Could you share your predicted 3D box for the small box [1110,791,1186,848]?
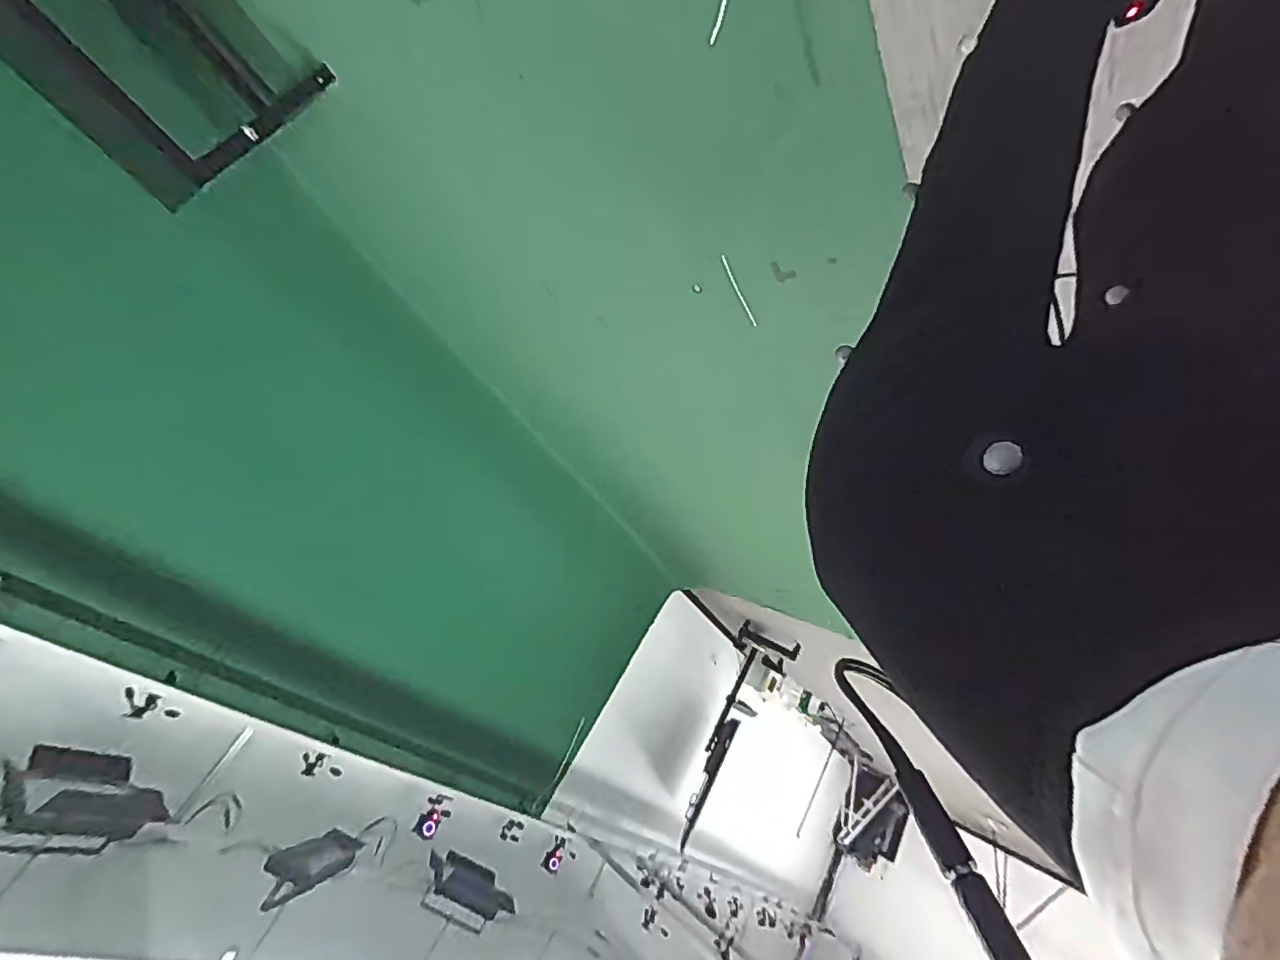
[{"bbox_3d":[1.585,0.994,1.678,0.168,0.176,0.179,9,147,47],"label":"small box"}]
